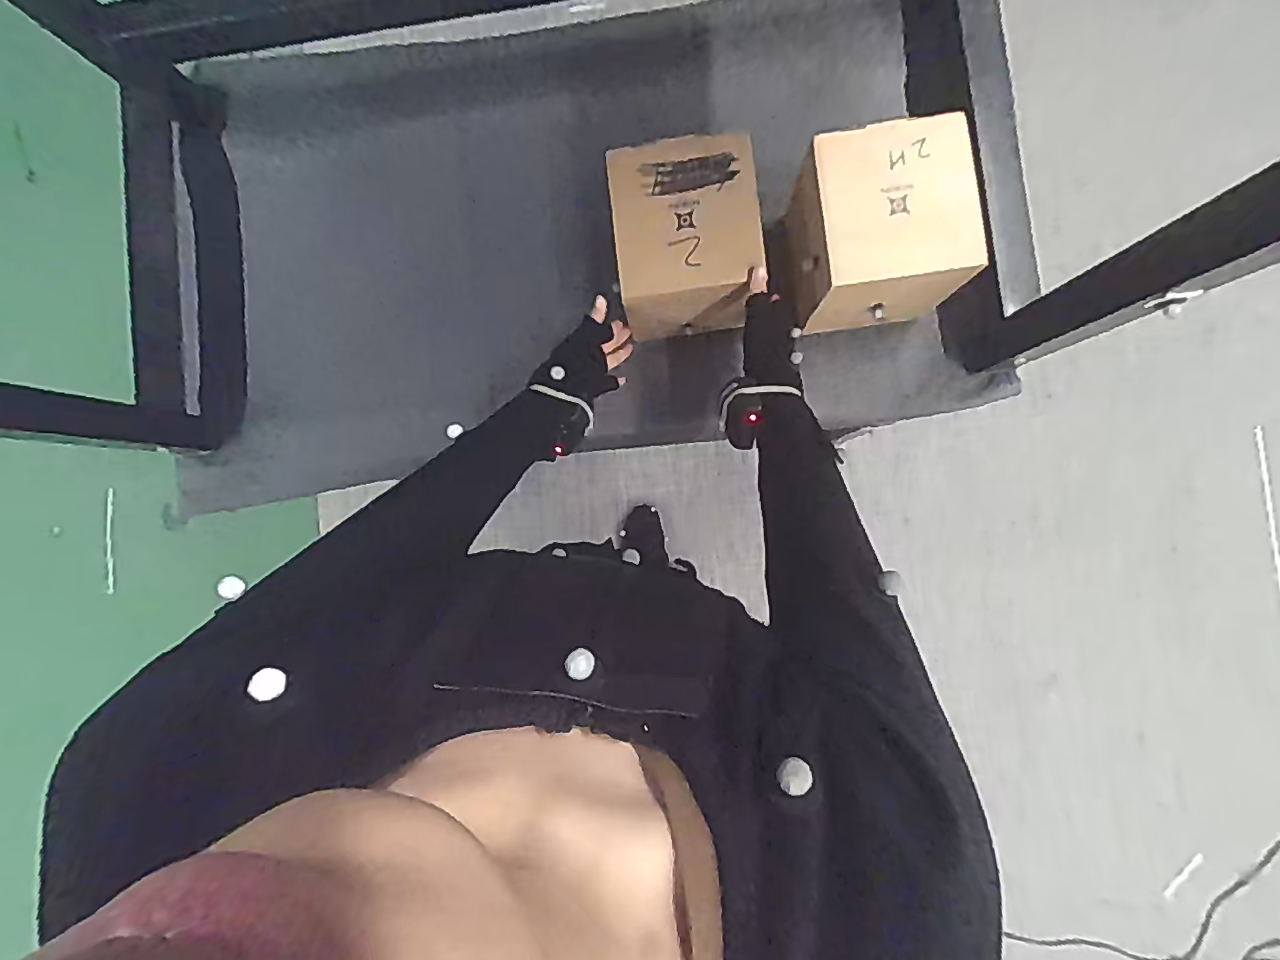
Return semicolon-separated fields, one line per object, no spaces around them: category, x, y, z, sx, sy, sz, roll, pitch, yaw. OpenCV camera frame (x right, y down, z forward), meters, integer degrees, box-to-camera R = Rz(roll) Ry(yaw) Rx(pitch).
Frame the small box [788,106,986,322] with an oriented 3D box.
small box;0.288;-0.308;0.668;0.168;0.176;0.179;-7;86;4
